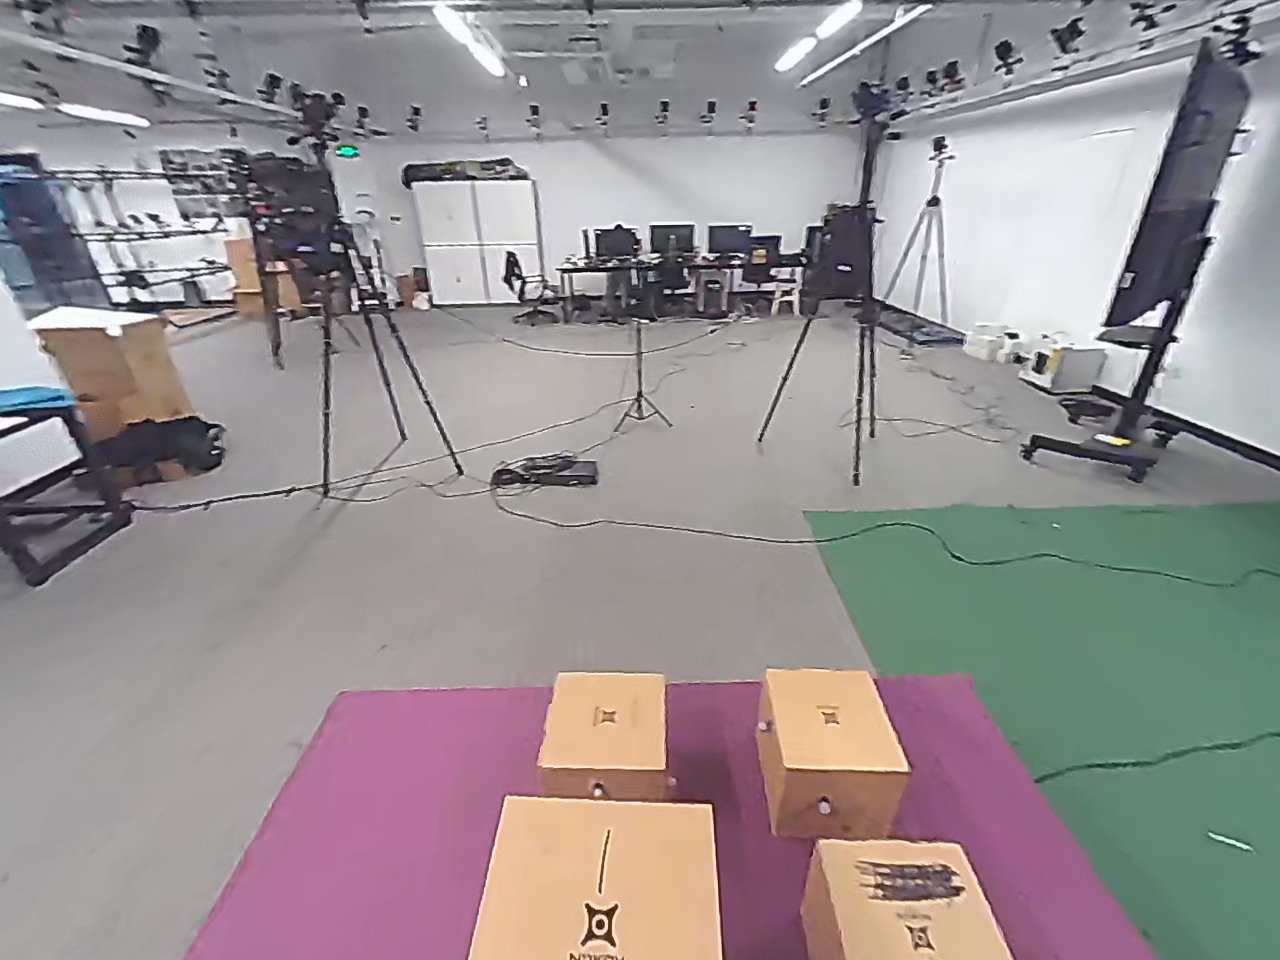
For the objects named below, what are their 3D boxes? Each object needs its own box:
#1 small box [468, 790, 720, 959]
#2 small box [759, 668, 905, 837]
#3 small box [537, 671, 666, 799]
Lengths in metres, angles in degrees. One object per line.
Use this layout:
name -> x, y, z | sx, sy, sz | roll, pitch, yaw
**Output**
small box -> -0.028, 0.364, 0.403 | 0.168, 0.176, 0.179 | 2, 35, 2
small box -> 0.279, 0.414, 0.828 | 0.168, 0.176, 0.179 | -1, 27, 3
small box -> -0.049, 0.421, 0.836 | 0.179, 0.176, 0.168 | 1, 28, 3
